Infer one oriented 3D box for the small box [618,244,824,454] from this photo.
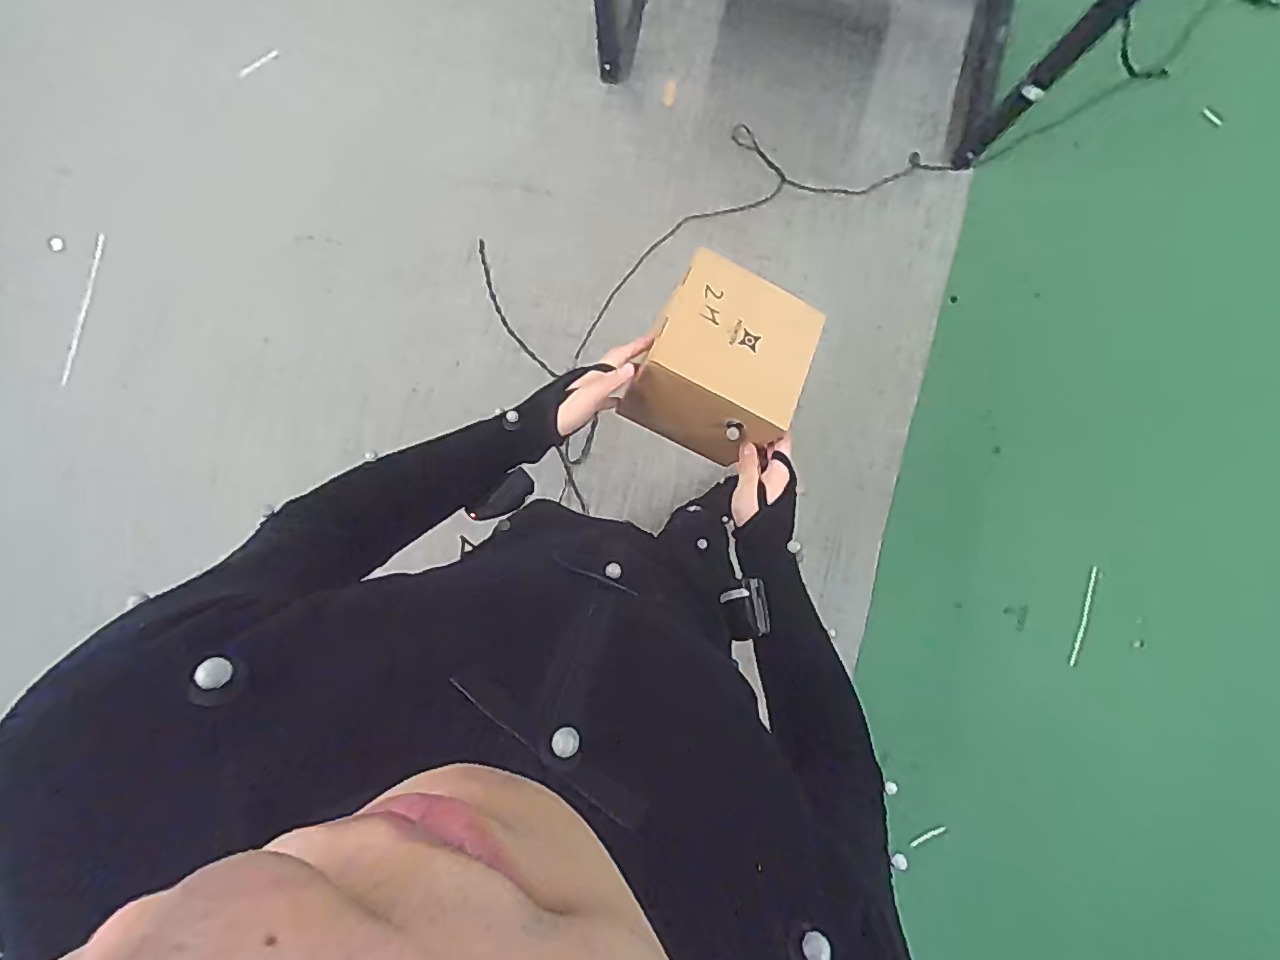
[{"bbox_3d":[0.093,-0.148,0.681,0.179,0.176,0.168,26,72,-8],"label":"small box"}]
